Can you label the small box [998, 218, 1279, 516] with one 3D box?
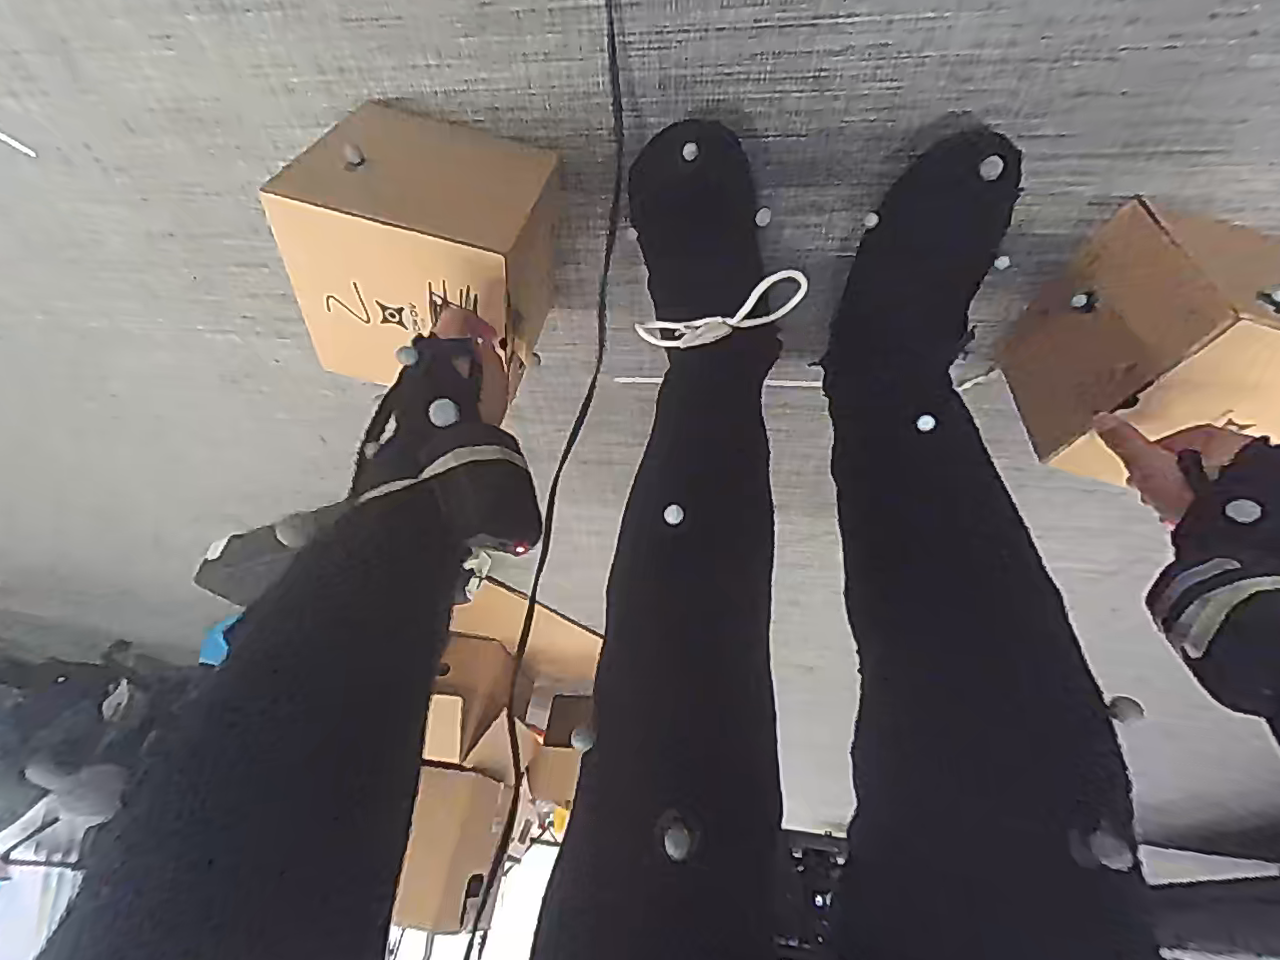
[{"bbox_3d":[0.460,-0.095,0.468,0.179,0.176,0.168,13,143,-4],"label":"small box"}]
